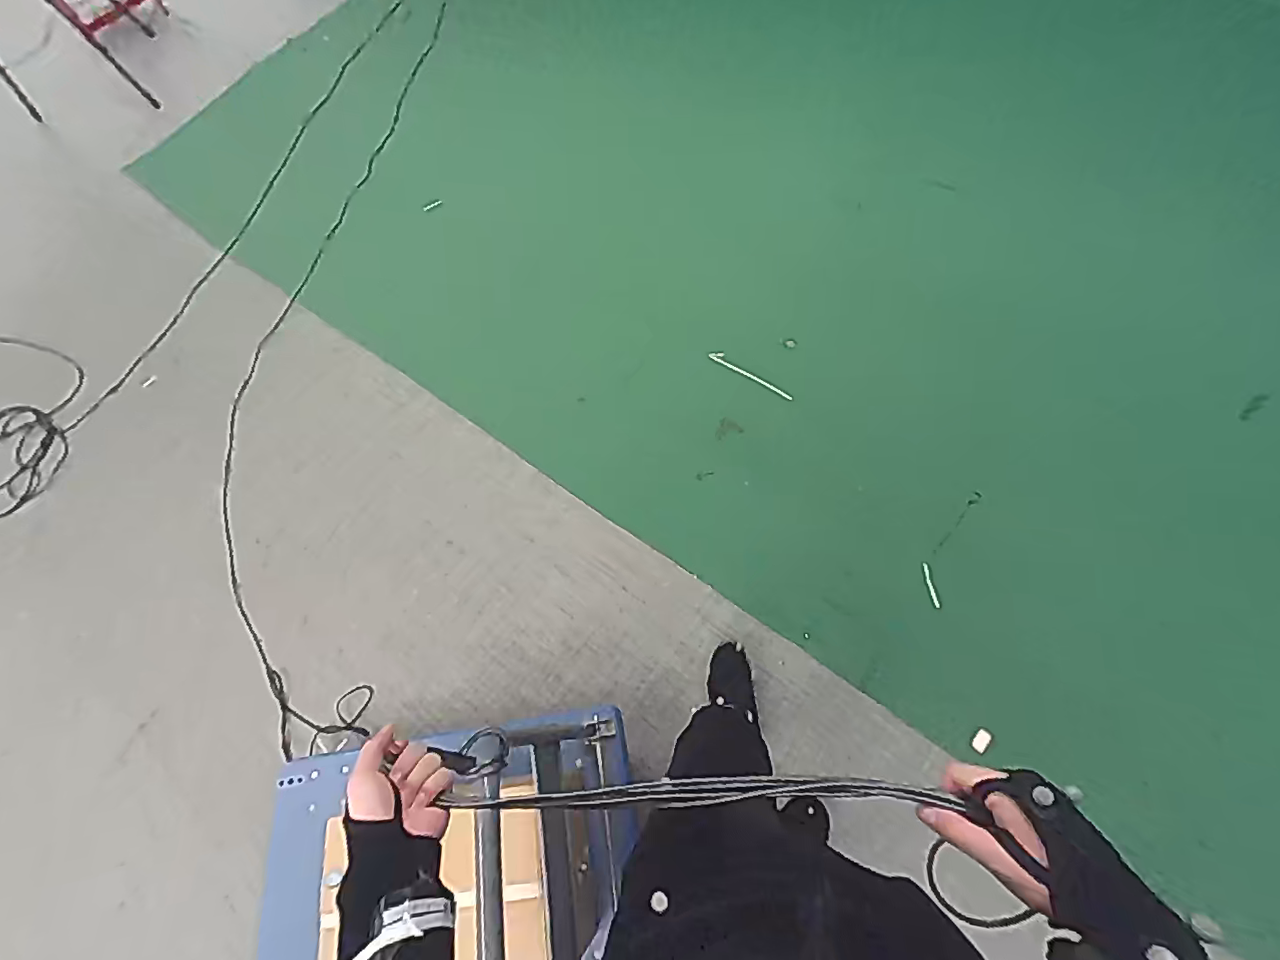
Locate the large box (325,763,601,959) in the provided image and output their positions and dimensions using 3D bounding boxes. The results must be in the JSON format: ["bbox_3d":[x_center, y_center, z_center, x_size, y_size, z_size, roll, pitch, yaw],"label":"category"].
[{"bbox_3d":[-0.320,0.771,1.053,0.408,0.320,0.320,-13,65,5],"label":"large box"}]
